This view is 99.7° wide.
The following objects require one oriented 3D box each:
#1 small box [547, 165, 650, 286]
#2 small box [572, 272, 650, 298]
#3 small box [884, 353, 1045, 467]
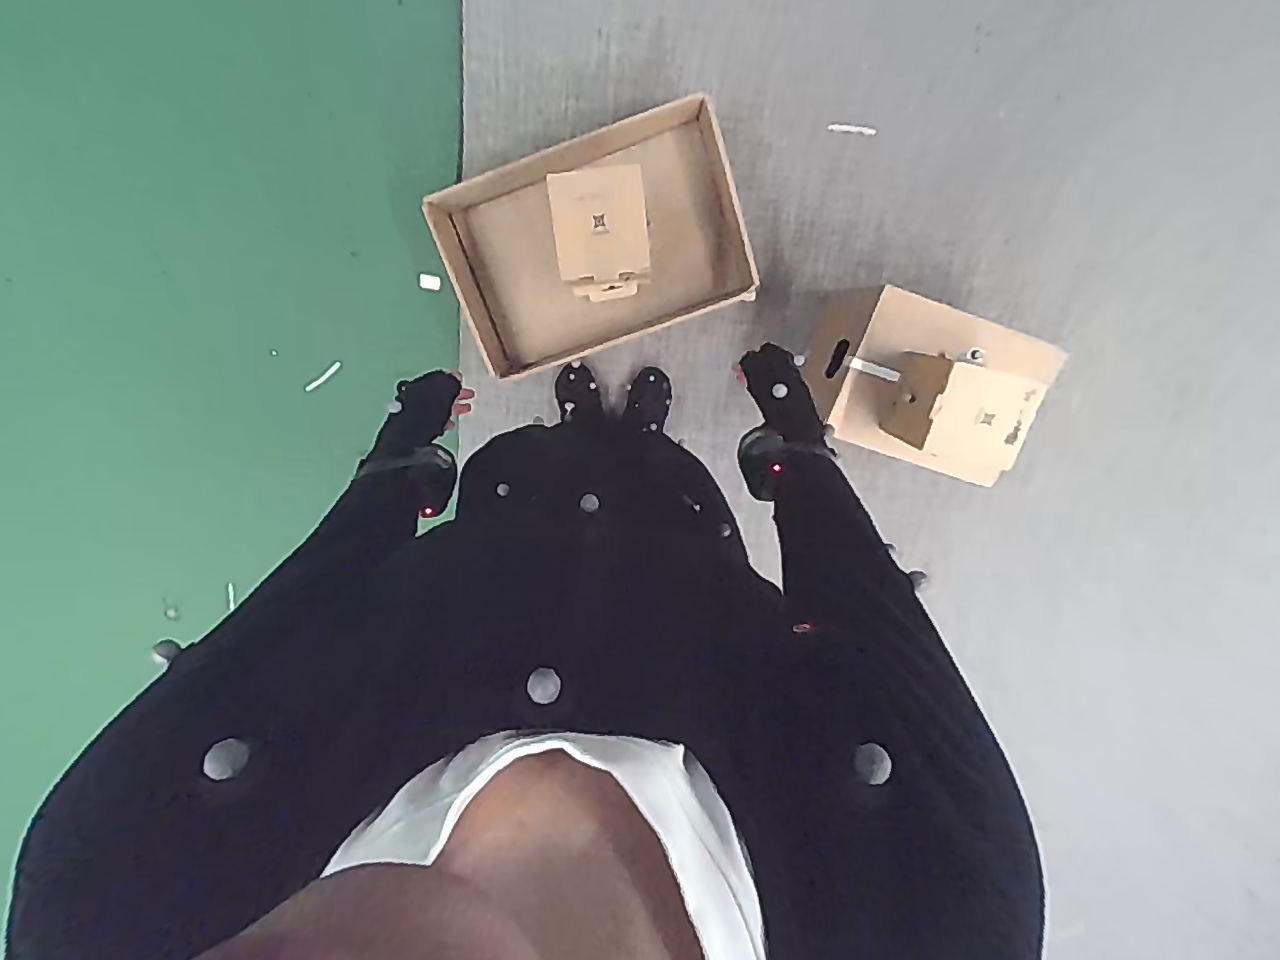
[{"bbox_3d":[-0.070,-0.468,1.023,0.168,0.176,0.179,-7,105,2],"label":"small box"},{"bbox_3d":[-0.070,-0.501,1.181,0.168,0.176,0.179,-10,105,4],"label":"small box"},{"bbox_3d":[0.595,-0.139,1.023,0.179,0.176,0.168,12,108,-4],"label":"small box"}]
